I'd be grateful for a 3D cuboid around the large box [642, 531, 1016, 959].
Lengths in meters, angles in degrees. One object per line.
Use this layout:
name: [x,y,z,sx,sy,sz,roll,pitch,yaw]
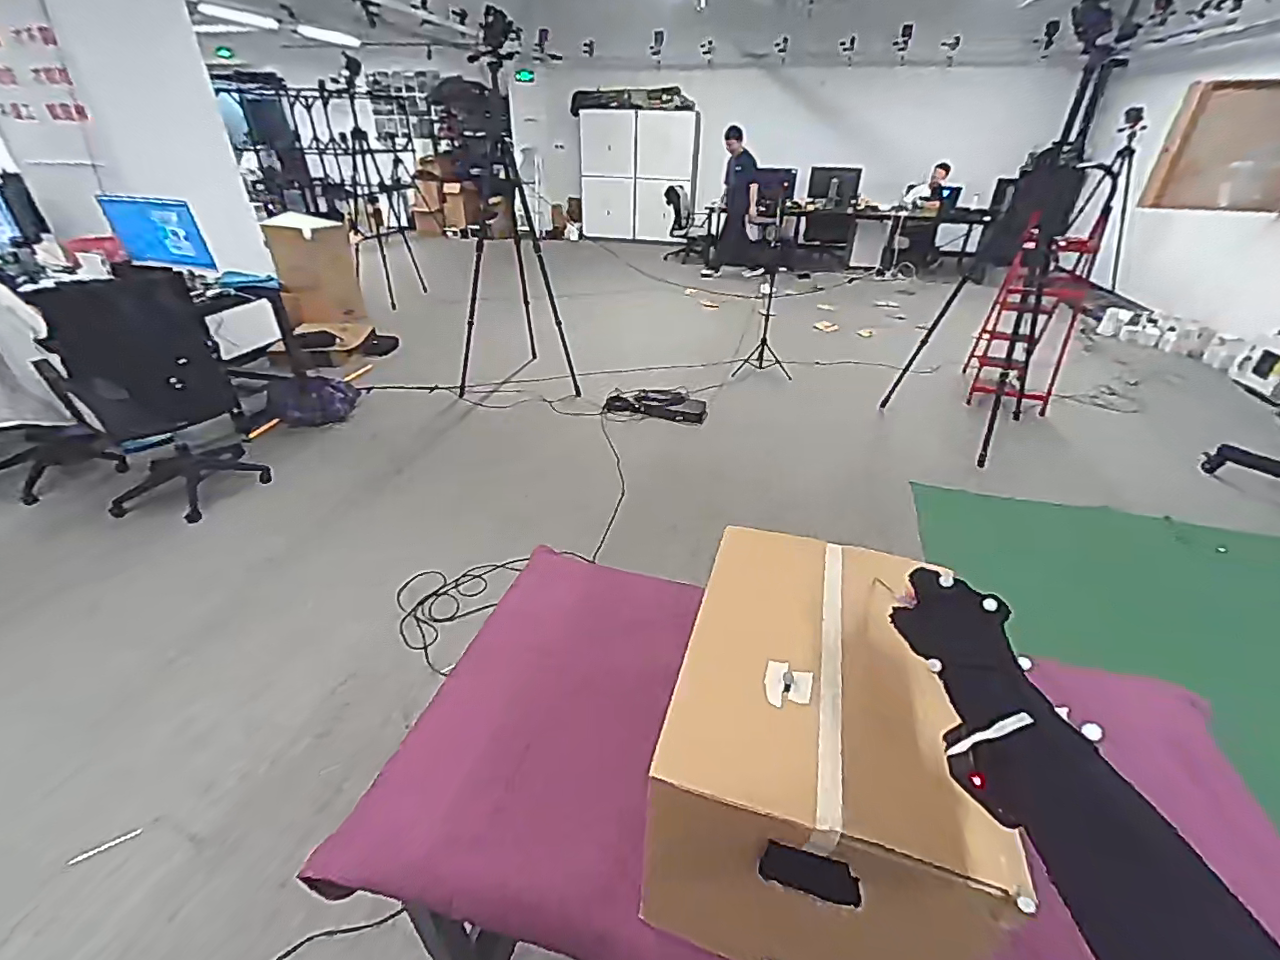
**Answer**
large box: [0.207,0.329,0.705,0.320,0.320,0.408,11,34,14]
